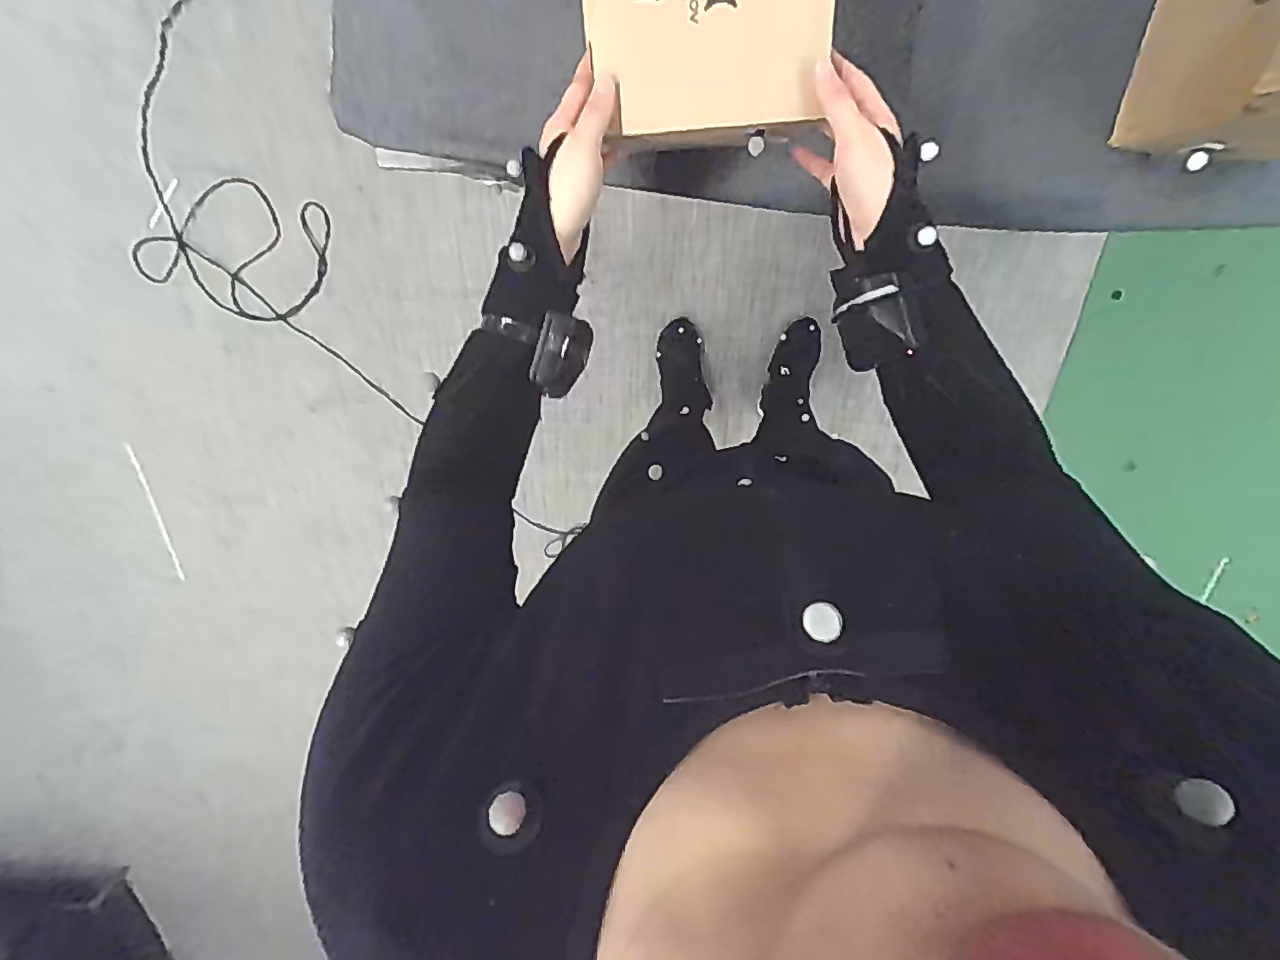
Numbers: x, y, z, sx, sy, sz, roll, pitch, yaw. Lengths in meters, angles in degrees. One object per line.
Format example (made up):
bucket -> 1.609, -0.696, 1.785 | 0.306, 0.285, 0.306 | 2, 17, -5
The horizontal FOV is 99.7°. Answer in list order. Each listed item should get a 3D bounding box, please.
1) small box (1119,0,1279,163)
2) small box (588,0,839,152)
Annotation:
small box -> 0.566, -0.383, 0.451 | 0.168, 0.176, 0.179 | 5, 113, 2
small box -> 0.056, -0.373, 0.441 | 0.179, 0.176, 0.168 | -1, 118, 6
